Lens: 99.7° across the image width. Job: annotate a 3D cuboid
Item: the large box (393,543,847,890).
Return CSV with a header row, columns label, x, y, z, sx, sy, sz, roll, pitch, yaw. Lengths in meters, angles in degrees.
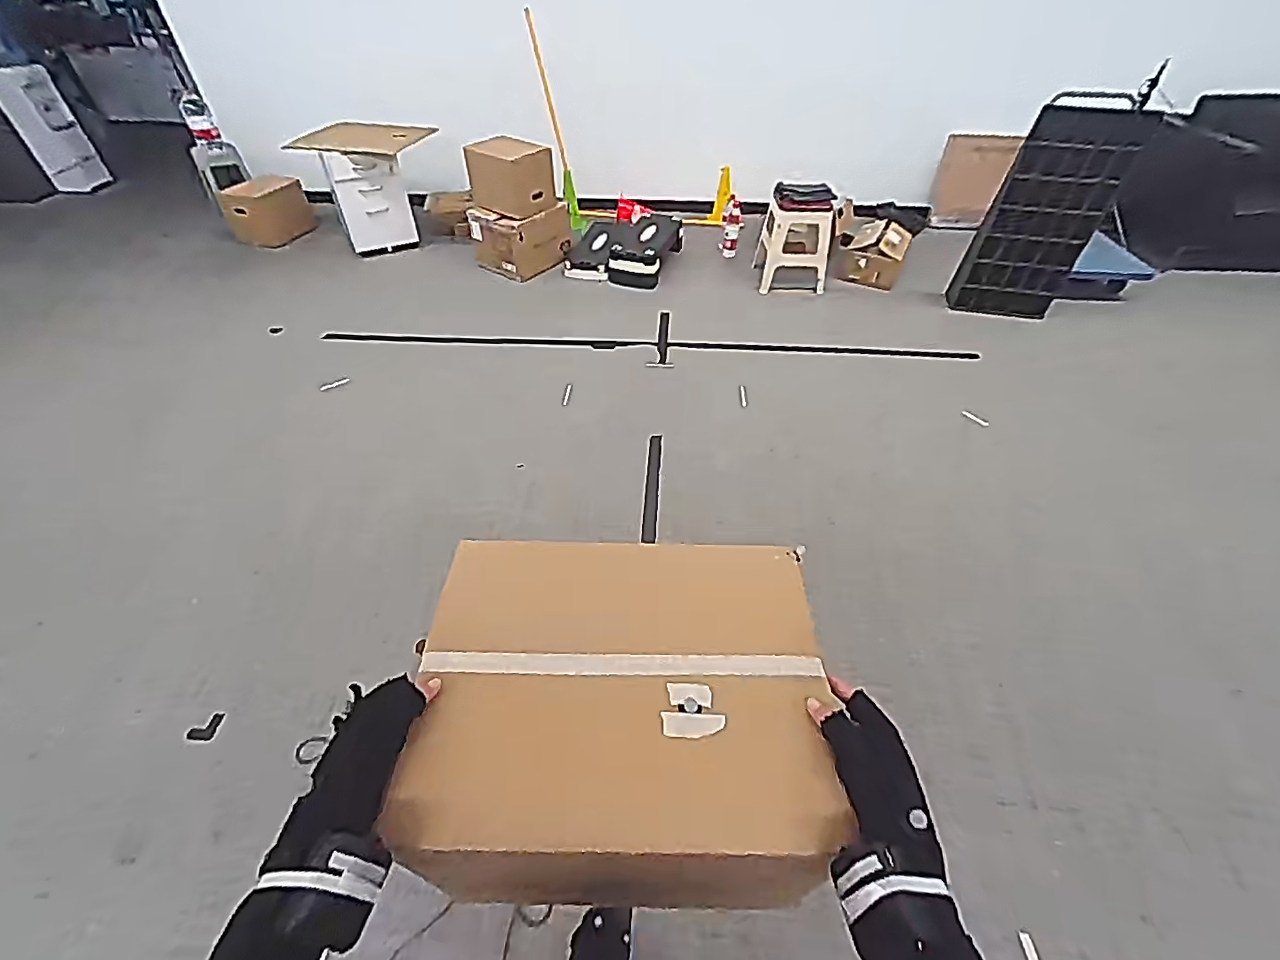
label,x,y,z,sx,sy,sz,roll,pitch,yaw
large box,-0.021,0.295,0.674,0.408,0.320,0.320,1,46,-1
